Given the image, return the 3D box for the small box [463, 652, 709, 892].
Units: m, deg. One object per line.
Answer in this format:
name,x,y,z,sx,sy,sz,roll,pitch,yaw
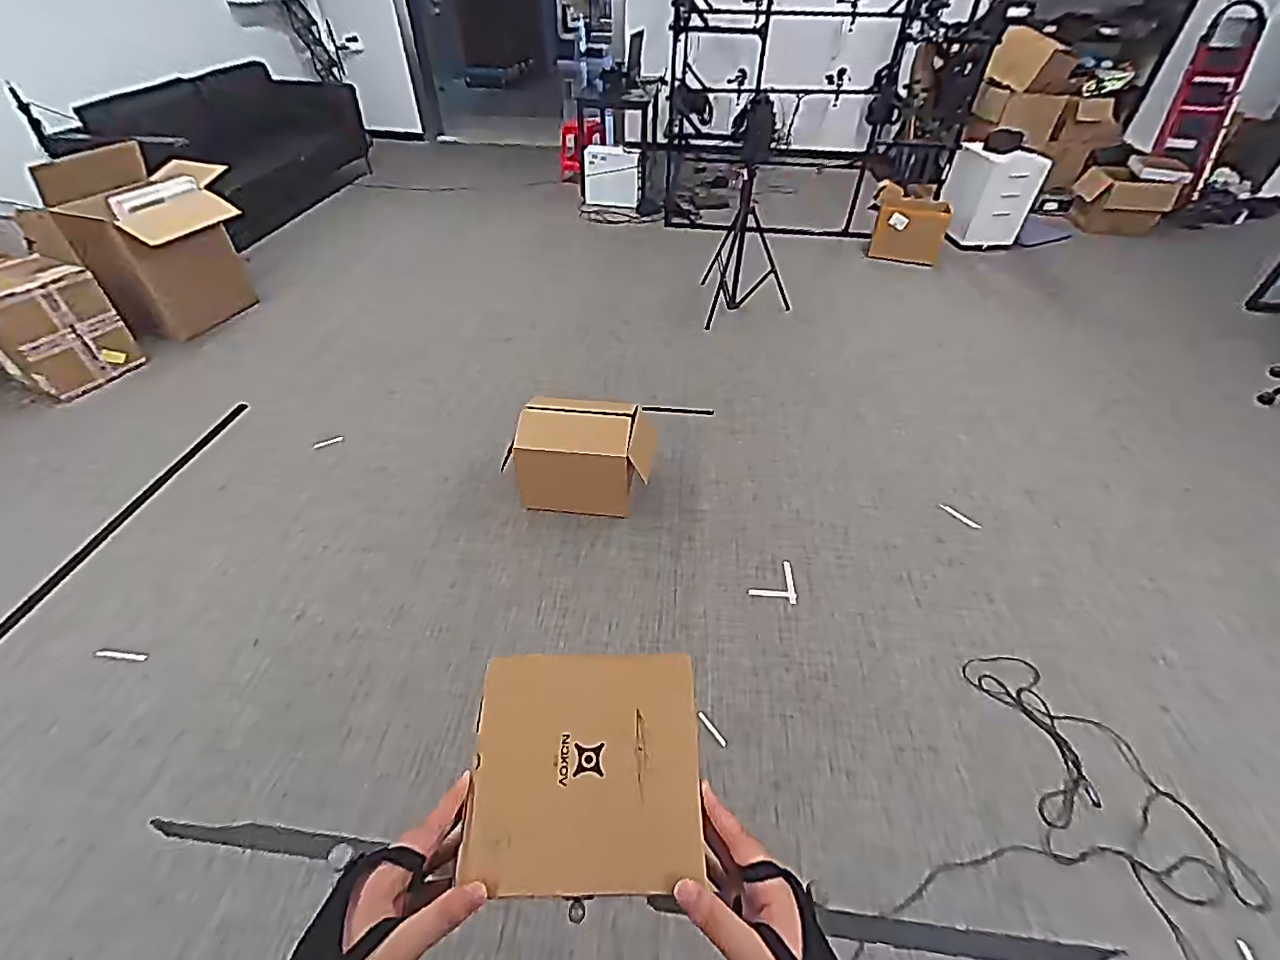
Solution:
small box,-0.038,0.265,0.486,0.179,0.176,0.168,-1,53,-1
